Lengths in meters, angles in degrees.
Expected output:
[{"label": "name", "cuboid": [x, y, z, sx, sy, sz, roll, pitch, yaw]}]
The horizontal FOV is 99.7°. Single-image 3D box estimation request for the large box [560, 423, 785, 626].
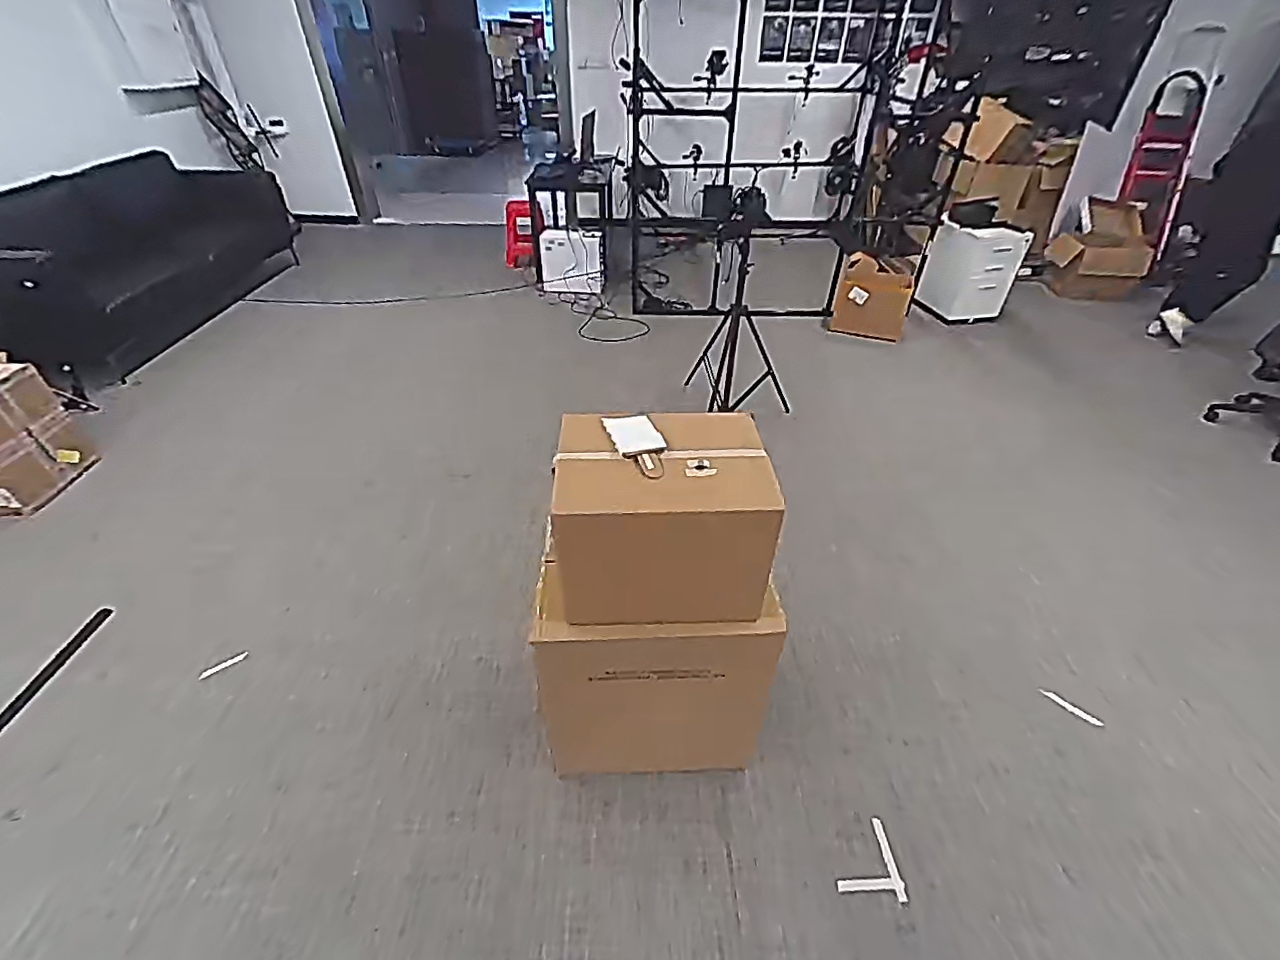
[{"label": "large box", "cuboid": [0.046, 0.089, 1.145, 0.408, 0.320, 0.320, 0, 39, -3]}]
